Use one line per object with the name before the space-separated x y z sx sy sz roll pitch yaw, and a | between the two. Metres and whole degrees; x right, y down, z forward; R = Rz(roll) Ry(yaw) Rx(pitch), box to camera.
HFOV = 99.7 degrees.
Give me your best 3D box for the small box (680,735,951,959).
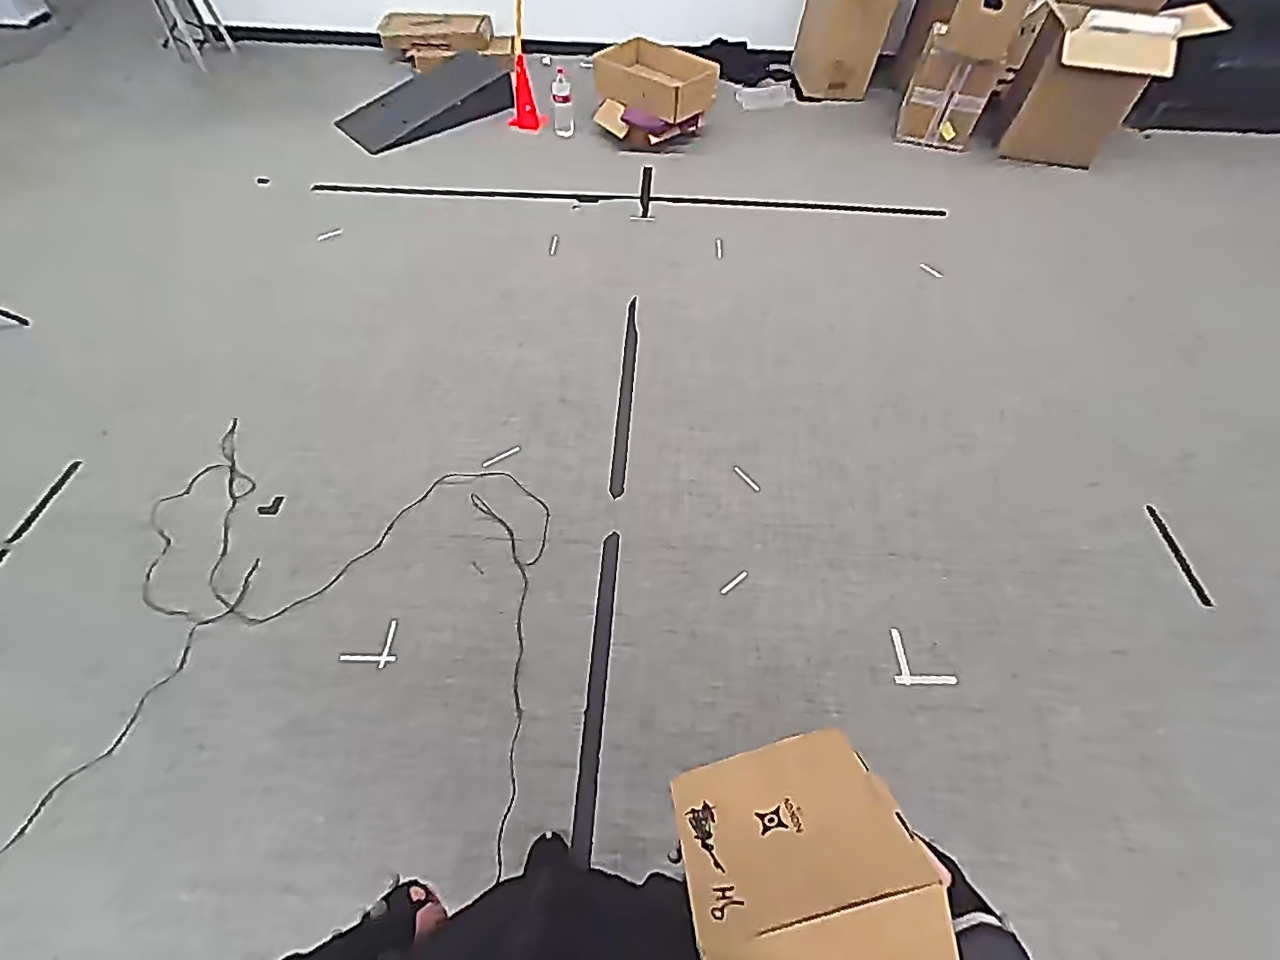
small box | 0.147 0.368 0.475 0.179 0.168 0.176 -16 101 -1
